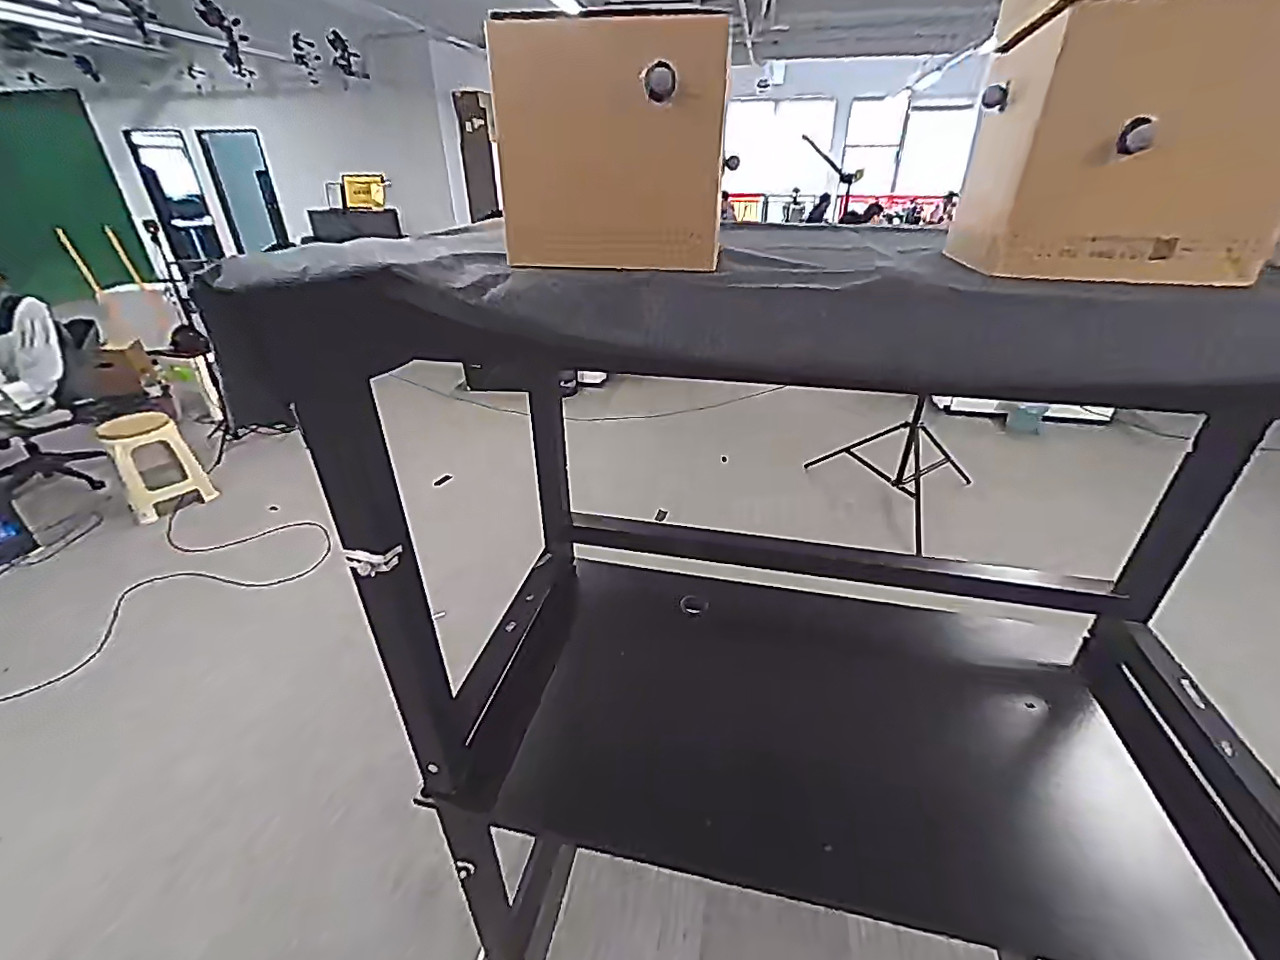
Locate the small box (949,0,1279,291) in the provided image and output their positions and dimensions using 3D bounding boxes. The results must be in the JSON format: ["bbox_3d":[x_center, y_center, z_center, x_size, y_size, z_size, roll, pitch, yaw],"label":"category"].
[{"bbox_3d":[0.367,-0.248,0.425,0.168,0.176,0.179,8,29,14],"label":"small box"}]

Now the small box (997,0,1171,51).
[{"bbox_3d":[0.363,-0.389,0.339,0.179,0.176,0.168,6,28,15],"label":"small box"}]

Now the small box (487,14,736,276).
[{"bbox_3d":[-0.012,-0.279,0.476,0.179,0.176,0.168,4,28,7],"label":"small box"}]
